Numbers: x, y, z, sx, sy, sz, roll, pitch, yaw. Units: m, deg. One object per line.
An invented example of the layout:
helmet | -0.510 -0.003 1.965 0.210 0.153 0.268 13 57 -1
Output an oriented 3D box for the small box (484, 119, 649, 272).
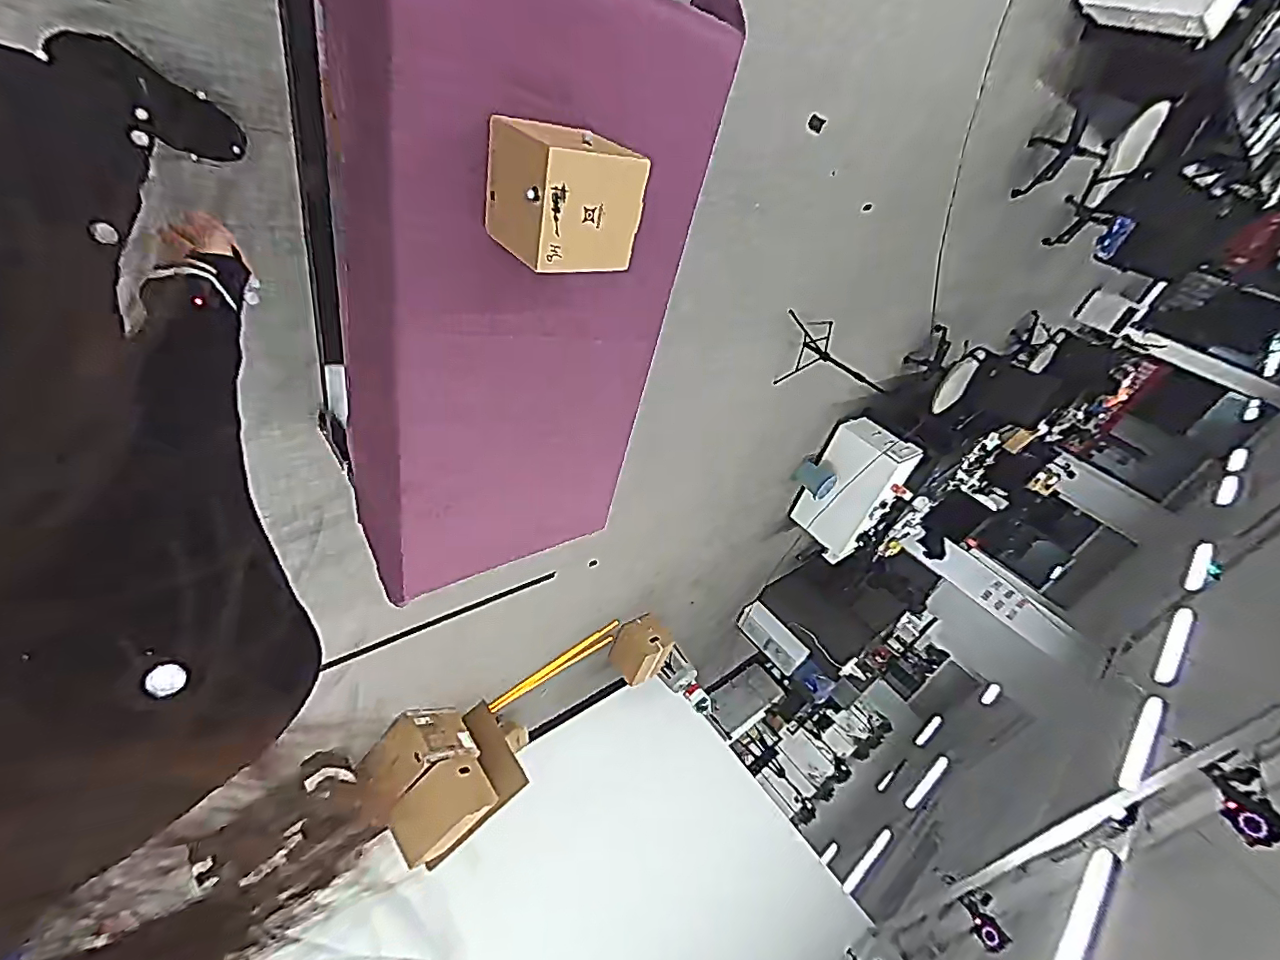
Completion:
small box | -0.119 -0.437 0.837 0.179 0.176 0.168 -19 140 -37
